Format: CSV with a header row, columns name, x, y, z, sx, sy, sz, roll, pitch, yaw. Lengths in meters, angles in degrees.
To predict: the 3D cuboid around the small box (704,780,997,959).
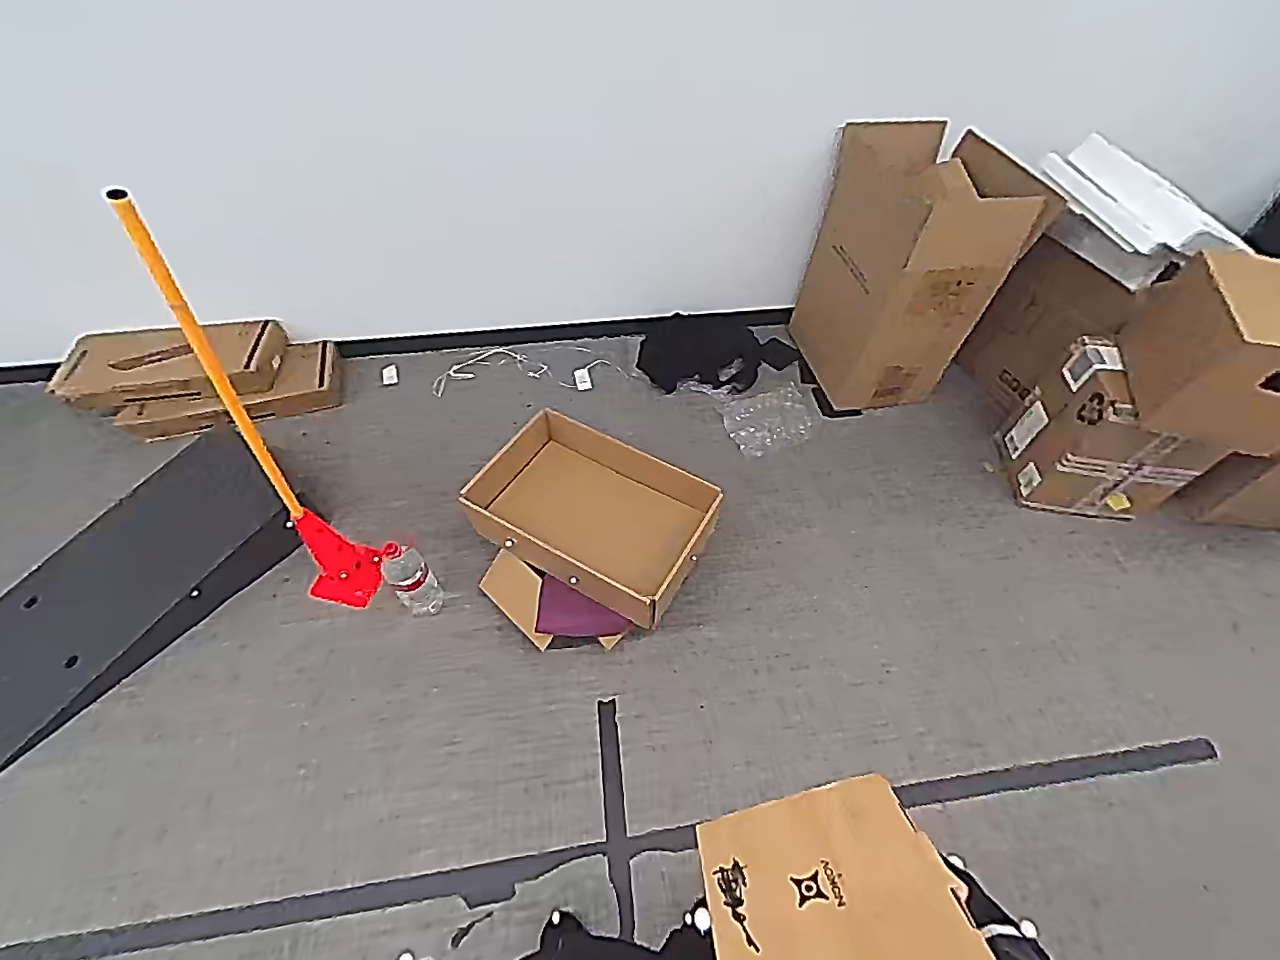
name,x,y,z,sx,sy,sz,roll,pitch,yaw
small box,0.165,0.389,0.432,0.179,0.176,0.168,-17,12,2
